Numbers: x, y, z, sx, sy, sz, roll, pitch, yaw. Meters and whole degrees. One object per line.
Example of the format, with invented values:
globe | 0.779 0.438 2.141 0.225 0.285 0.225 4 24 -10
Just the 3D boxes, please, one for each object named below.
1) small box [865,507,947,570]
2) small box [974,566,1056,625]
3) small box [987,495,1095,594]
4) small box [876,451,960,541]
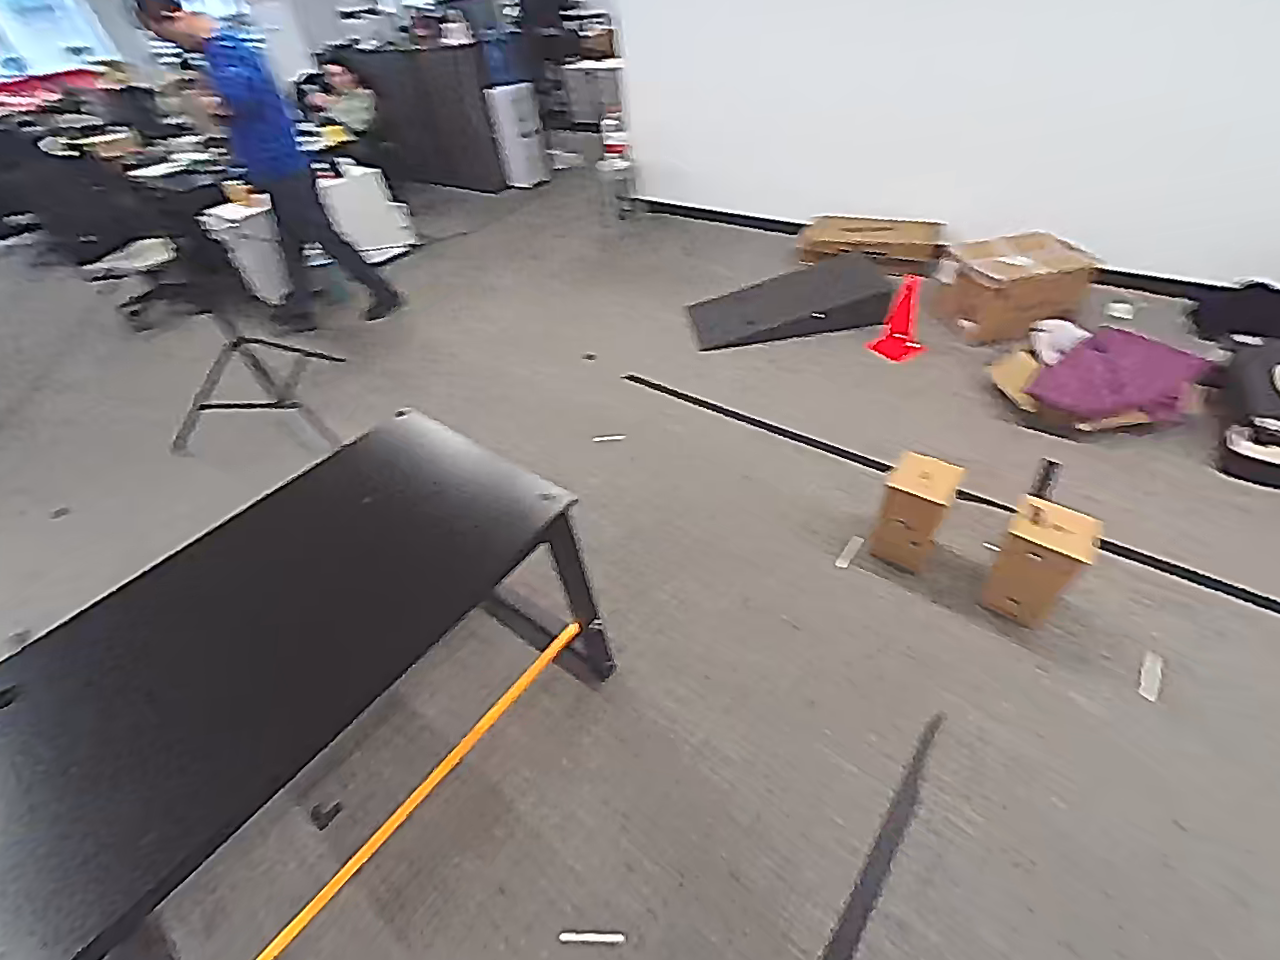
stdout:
small box | 0.850 0.162 1.738 0.179 0.176 0.168 23 52 29
small box | 1.105 0.288 1.575 0.168 0.176 0.179 27 55 30
small box | 1.070 0.177 1.455 0.179 0.176 0.168 25 54 29
small box | 0.828 0.048 1.624 0.168 0.176 0.179 23 53 31
